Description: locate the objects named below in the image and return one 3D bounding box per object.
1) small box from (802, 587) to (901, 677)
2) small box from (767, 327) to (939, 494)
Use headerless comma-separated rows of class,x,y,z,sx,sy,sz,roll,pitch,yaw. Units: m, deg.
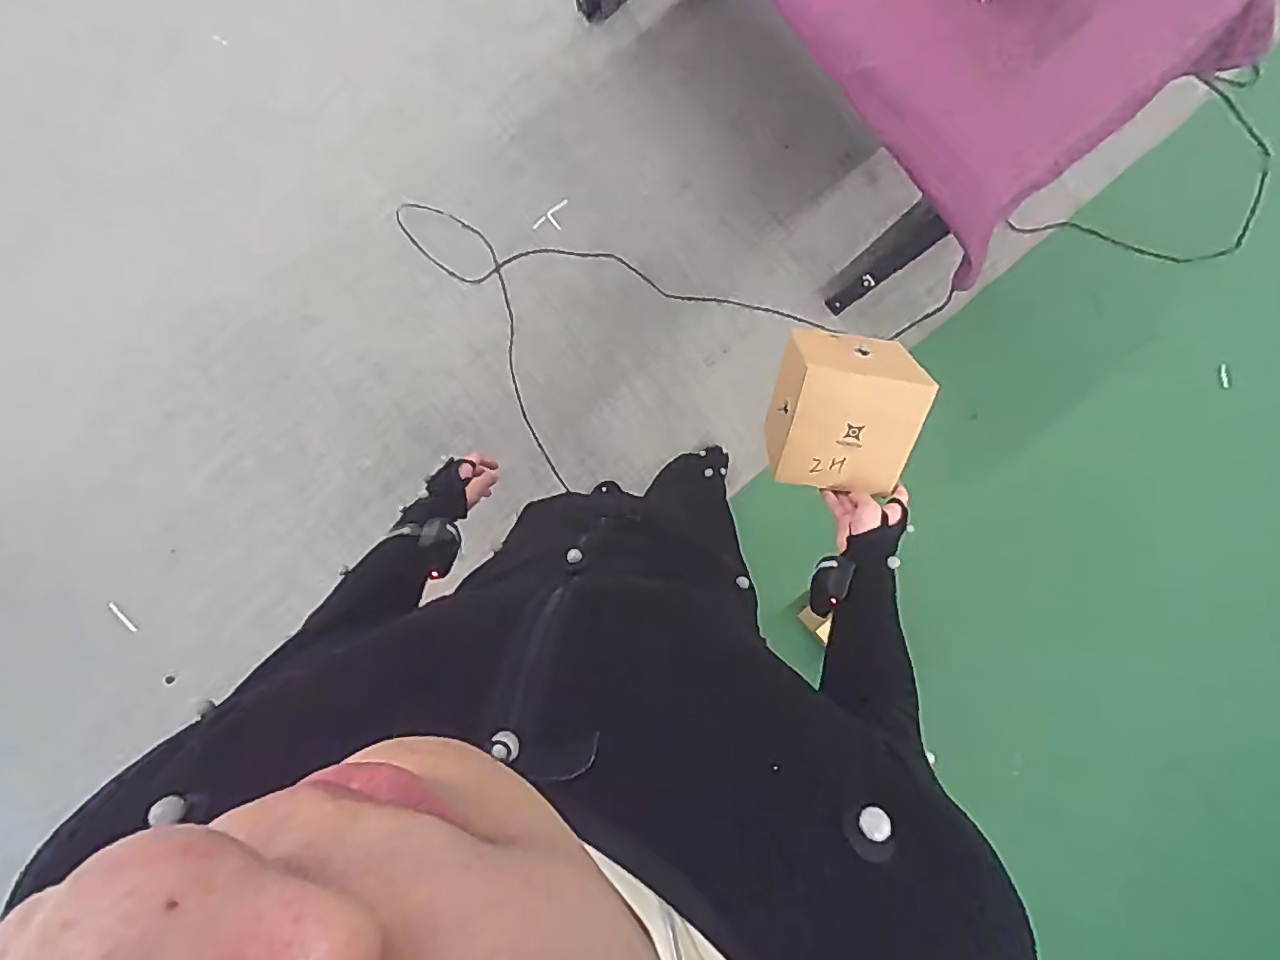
small box,0.606,0.430,1.575,0.168,0.176,0.179,-41,93,0
small box,0.285,-0.106,0.772,0.168,0.176,0.179,8,123,2
